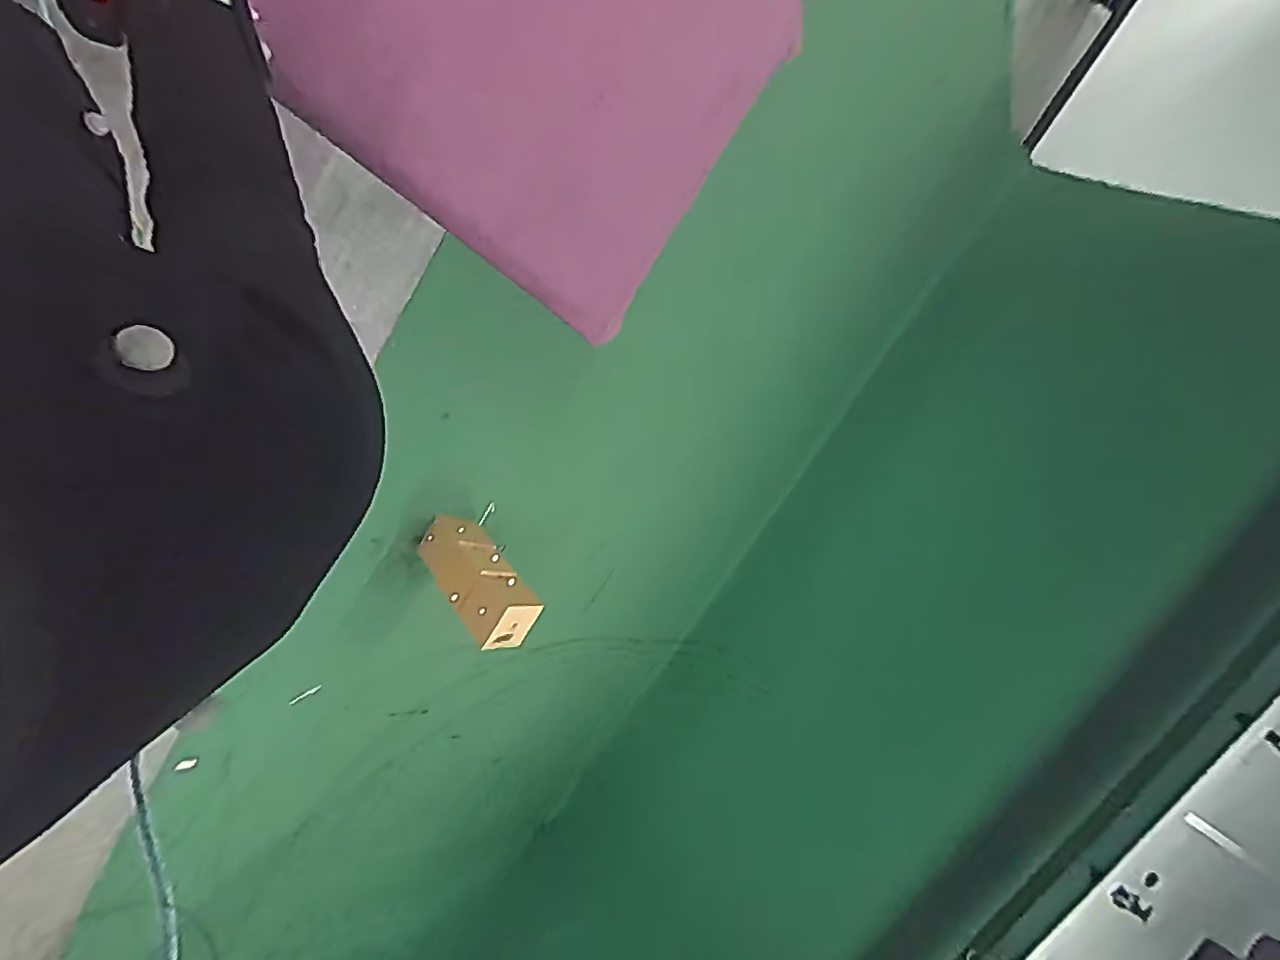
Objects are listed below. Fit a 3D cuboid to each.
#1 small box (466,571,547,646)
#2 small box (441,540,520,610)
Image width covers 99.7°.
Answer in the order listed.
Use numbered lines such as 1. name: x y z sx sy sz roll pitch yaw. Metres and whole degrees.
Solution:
1. small box: -0.452 0.428 1.799 0.179 0.176 0.168 -54 148 9
2. small box: -0.561 0.330 1.880 0.179 0.176 0.168 -56 146 10
